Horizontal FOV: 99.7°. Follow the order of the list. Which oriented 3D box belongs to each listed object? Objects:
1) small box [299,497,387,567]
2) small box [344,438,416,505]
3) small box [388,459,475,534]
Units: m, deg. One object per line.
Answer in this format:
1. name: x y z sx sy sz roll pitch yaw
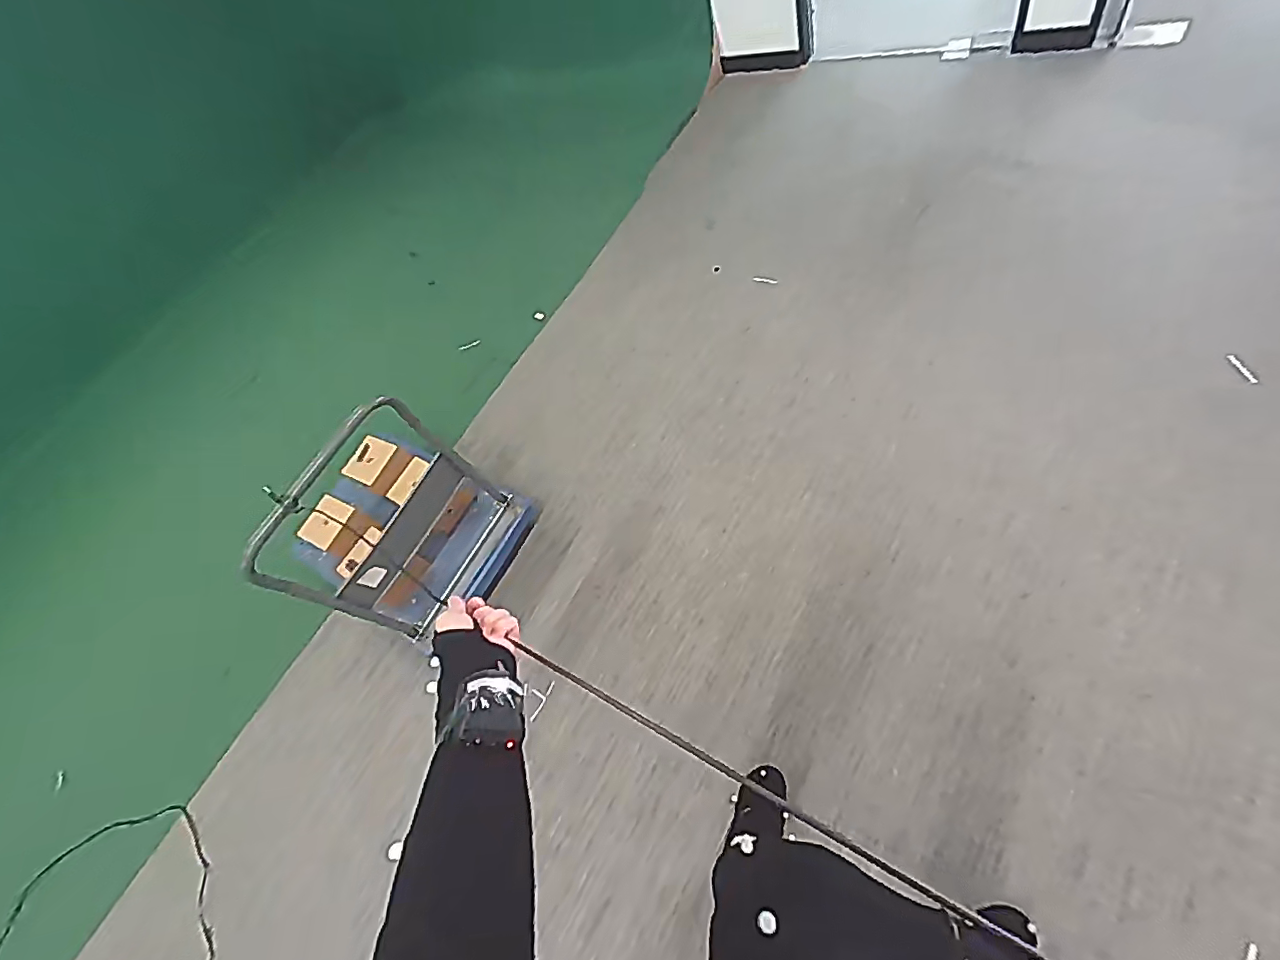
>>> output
1. small box: -1.030 0.186 1.891 0.179 0.176 0.168 18 69 29
2. small box: -0.920 -0.027 1.969 0.179 0.176 0.168 18 70 28
3. small box: -0.702 0.060 1.835 0.179 0.176 0.168 23 72 29
